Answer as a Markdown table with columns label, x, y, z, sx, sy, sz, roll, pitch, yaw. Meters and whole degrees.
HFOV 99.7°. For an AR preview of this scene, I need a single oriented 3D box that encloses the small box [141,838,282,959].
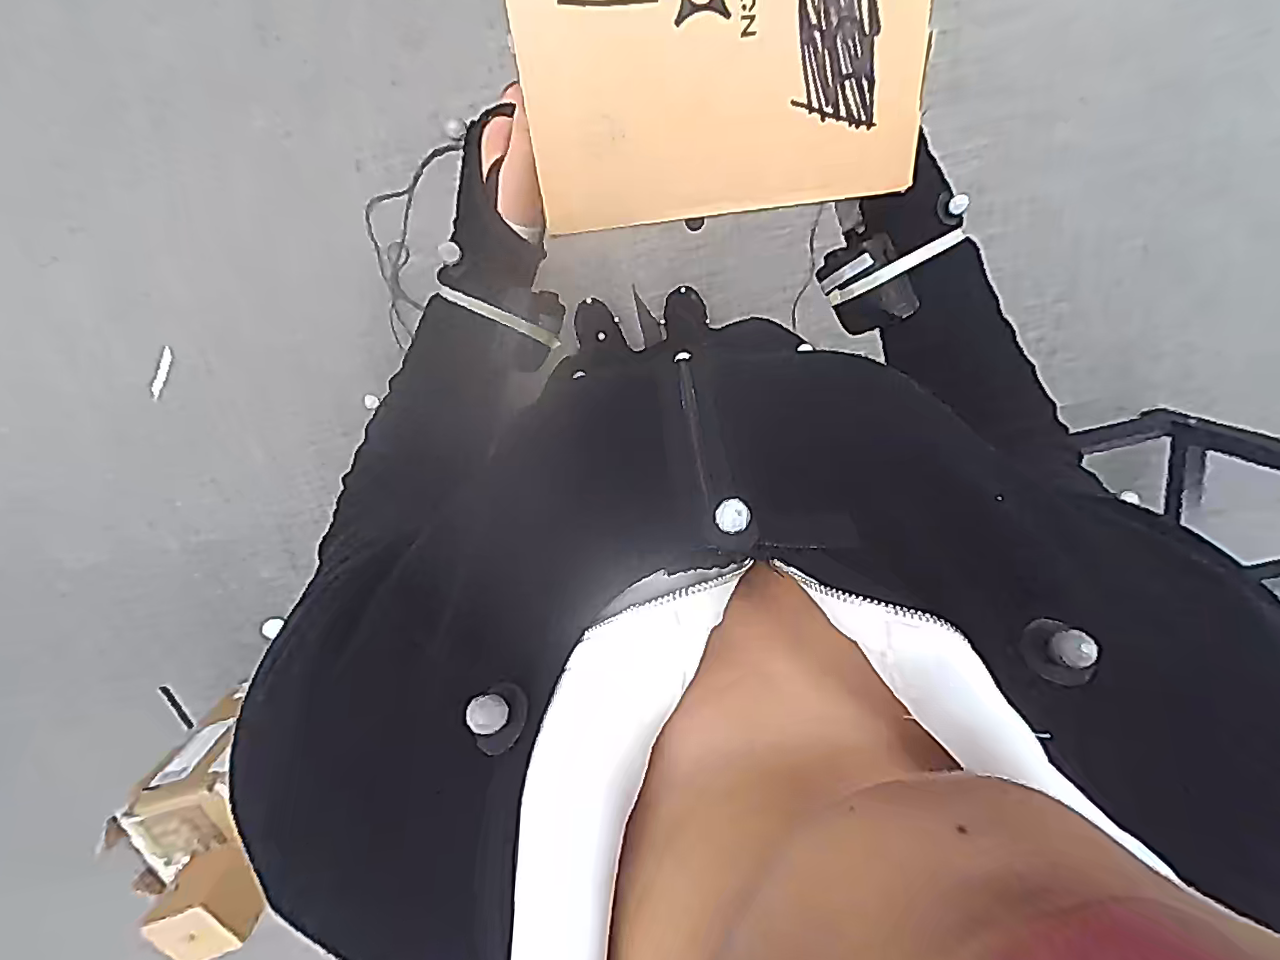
| label | x | y | z | sx | sy | sz | roll | pitch | yaw |
| --- | --- | --- | --- | --- | --- | --- | --- | --- | --- |
| small box | -1.042 | 1.036 | 1.334 | 0.179 | 0.176 | 0.168 | -25 | 110 | 4 |
